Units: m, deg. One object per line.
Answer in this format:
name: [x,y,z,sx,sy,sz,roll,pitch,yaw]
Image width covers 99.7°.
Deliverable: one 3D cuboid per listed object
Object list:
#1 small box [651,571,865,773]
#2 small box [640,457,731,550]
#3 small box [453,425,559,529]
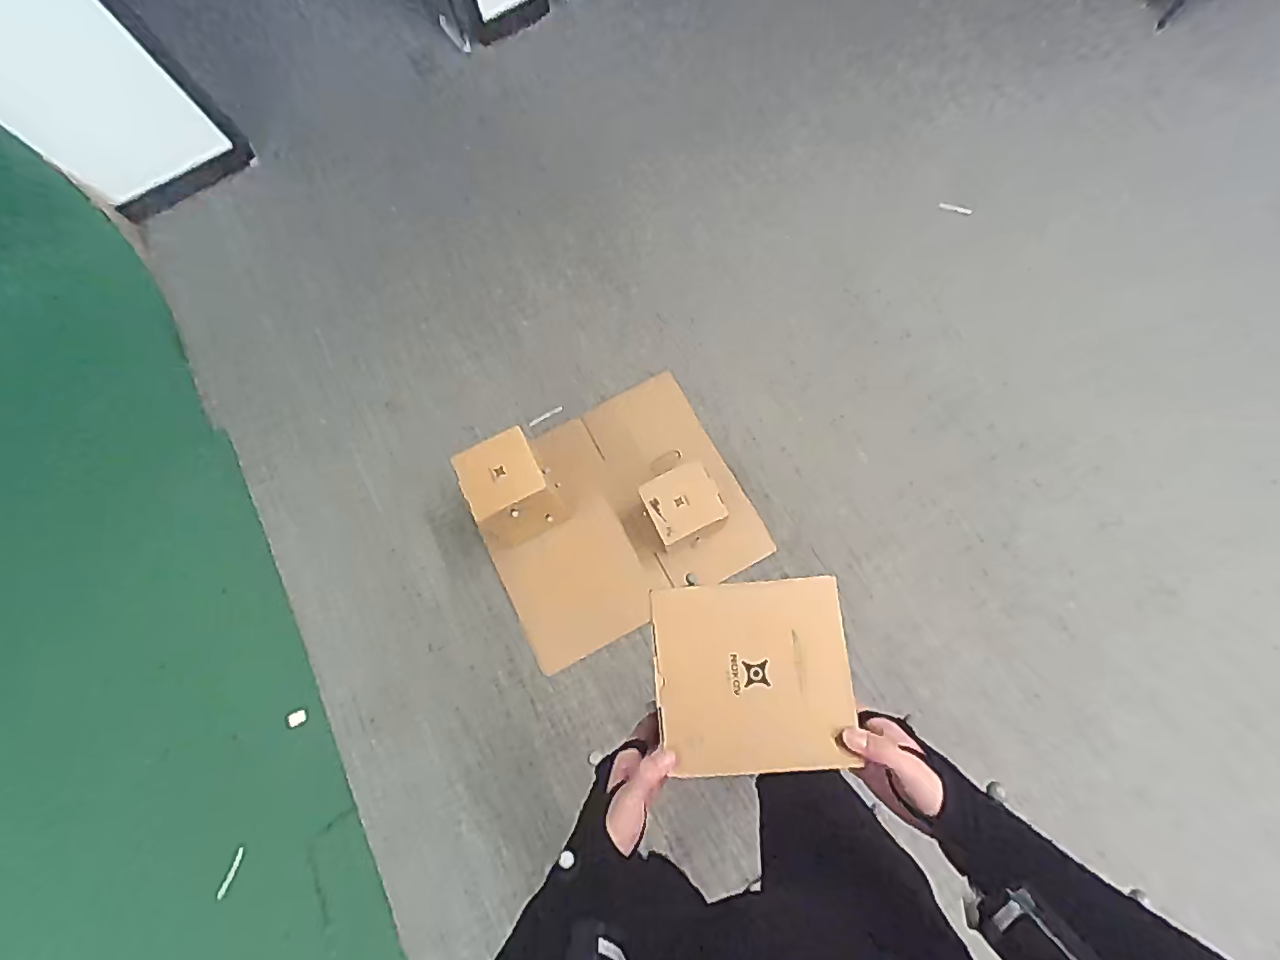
small box: [0.111,0.188,0.566,0.179,0.176,0.168,-6,79,4]
small box: [0.115,0.067,1.391,0.179,0.176,0.168,-25,74,-2]
small box: [-0.304,0.000,1.273,0.179,0.176,0.168,-27,75,-2]
